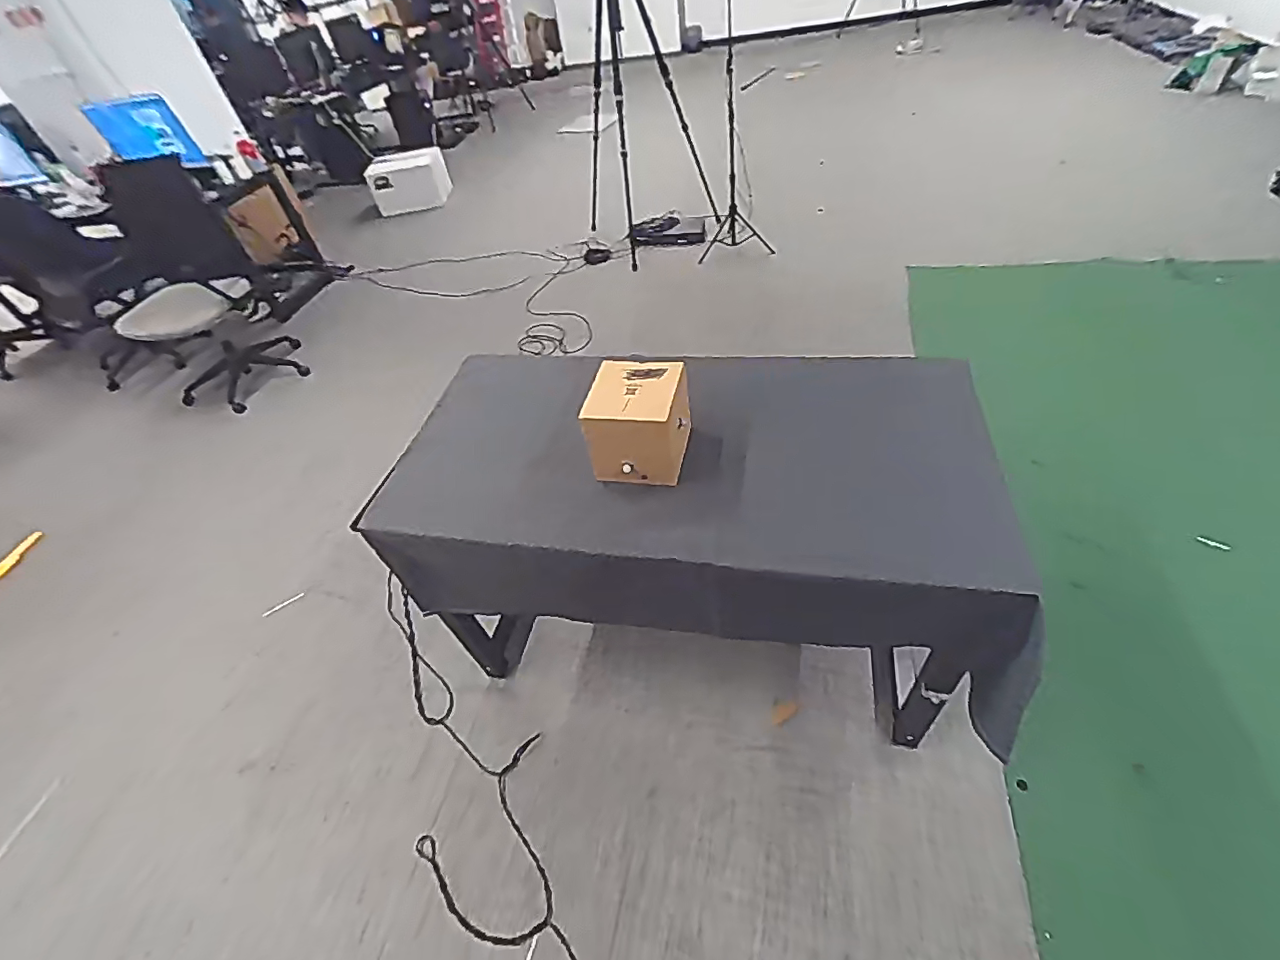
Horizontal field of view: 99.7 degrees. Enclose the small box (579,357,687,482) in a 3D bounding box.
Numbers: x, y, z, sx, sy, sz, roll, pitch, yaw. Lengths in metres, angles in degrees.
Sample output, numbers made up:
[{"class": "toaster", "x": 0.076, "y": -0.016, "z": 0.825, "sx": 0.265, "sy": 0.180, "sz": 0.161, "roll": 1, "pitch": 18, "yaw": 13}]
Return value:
[{"class": "small box", "x": -0.003, "y": -0.120, "z": 1.059, "sx": 0.168, "sy": 0.176, "sz": 0.179, "roll": 4, "pitch": 48, "yaw": 15}]
